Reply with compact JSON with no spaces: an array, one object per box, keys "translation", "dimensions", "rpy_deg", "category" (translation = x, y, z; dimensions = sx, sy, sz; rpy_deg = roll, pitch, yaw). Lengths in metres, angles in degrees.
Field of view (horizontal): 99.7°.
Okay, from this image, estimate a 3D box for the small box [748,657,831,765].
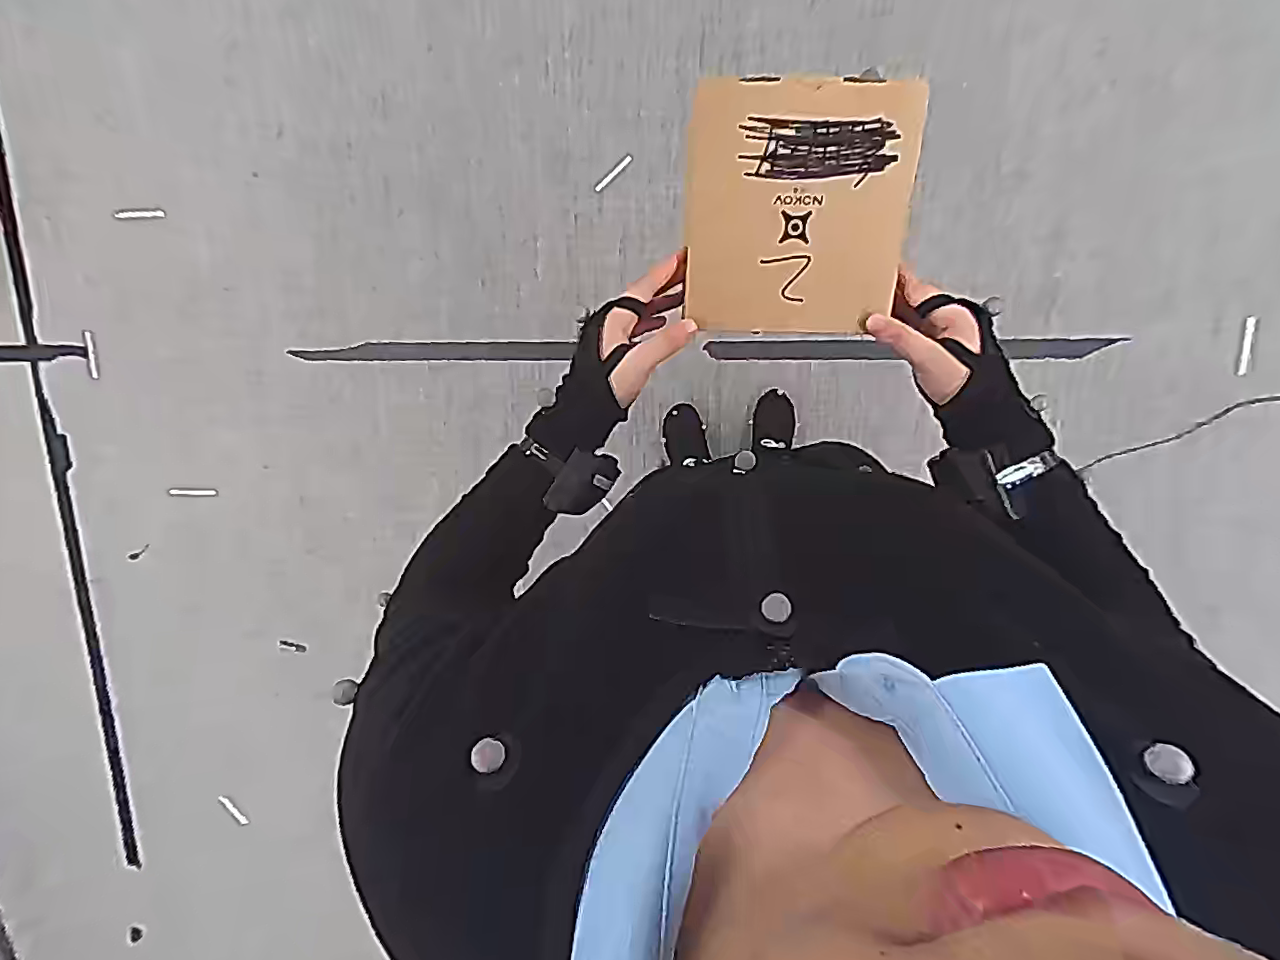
[{"translation":[0.349,0.542,1.283],"dimensions":[0.168,0.176,0.179],"rpy_deg":[-2,98,5],"category":"small box"}]
